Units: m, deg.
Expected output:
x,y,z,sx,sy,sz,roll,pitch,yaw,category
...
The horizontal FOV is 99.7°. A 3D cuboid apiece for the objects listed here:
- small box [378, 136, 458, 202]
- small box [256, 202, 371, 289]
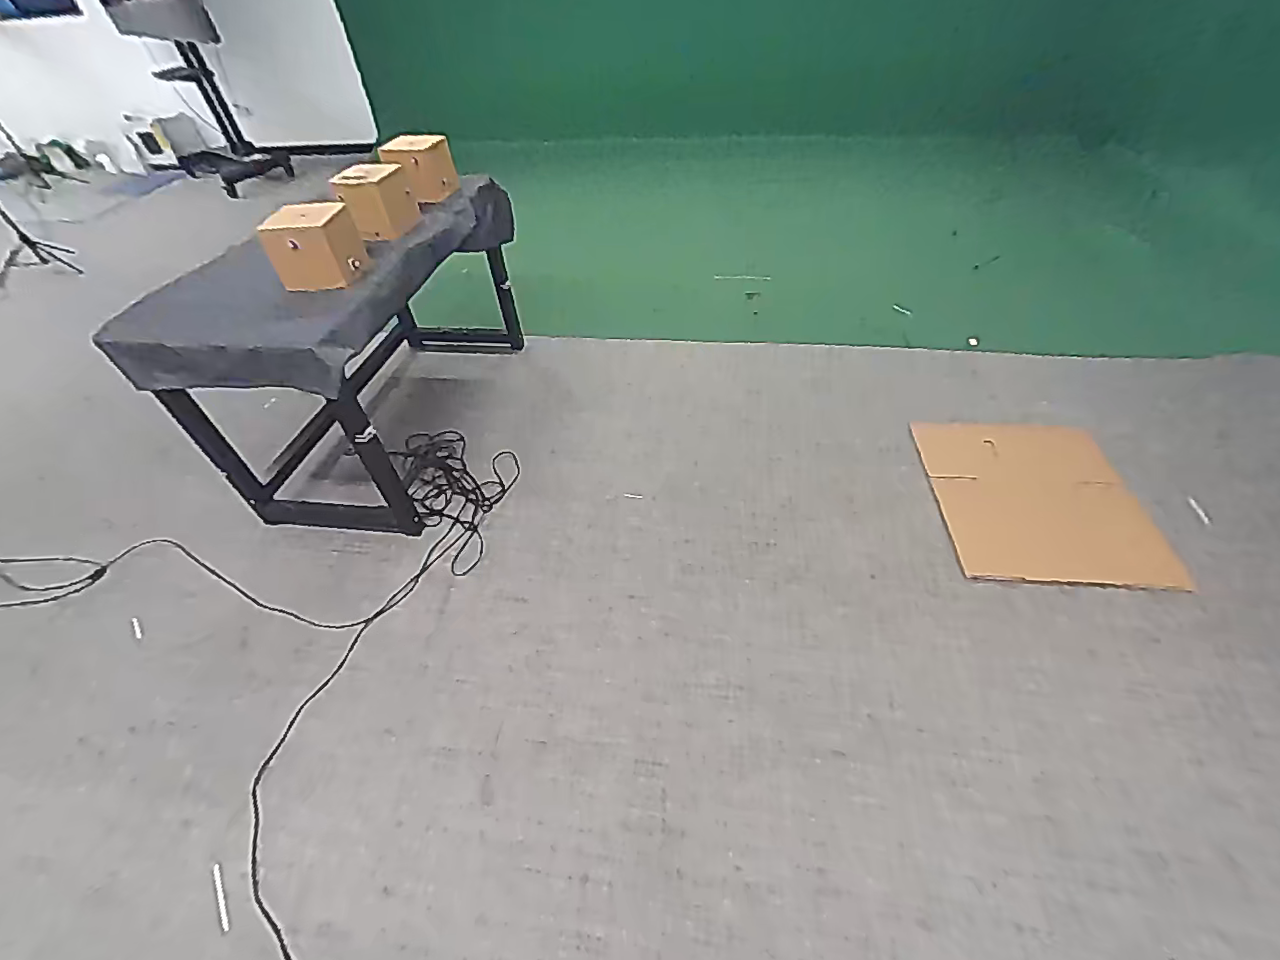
x,y,z,sx,sy,sz,roll,pitch,yaw,category
-0.774,-1.092,1.900,0.179,0.176,0.168,7,47,11,small box
-0.867,-0.627,1.455,0.179,0.176,0.168,-1,47,3,small box
